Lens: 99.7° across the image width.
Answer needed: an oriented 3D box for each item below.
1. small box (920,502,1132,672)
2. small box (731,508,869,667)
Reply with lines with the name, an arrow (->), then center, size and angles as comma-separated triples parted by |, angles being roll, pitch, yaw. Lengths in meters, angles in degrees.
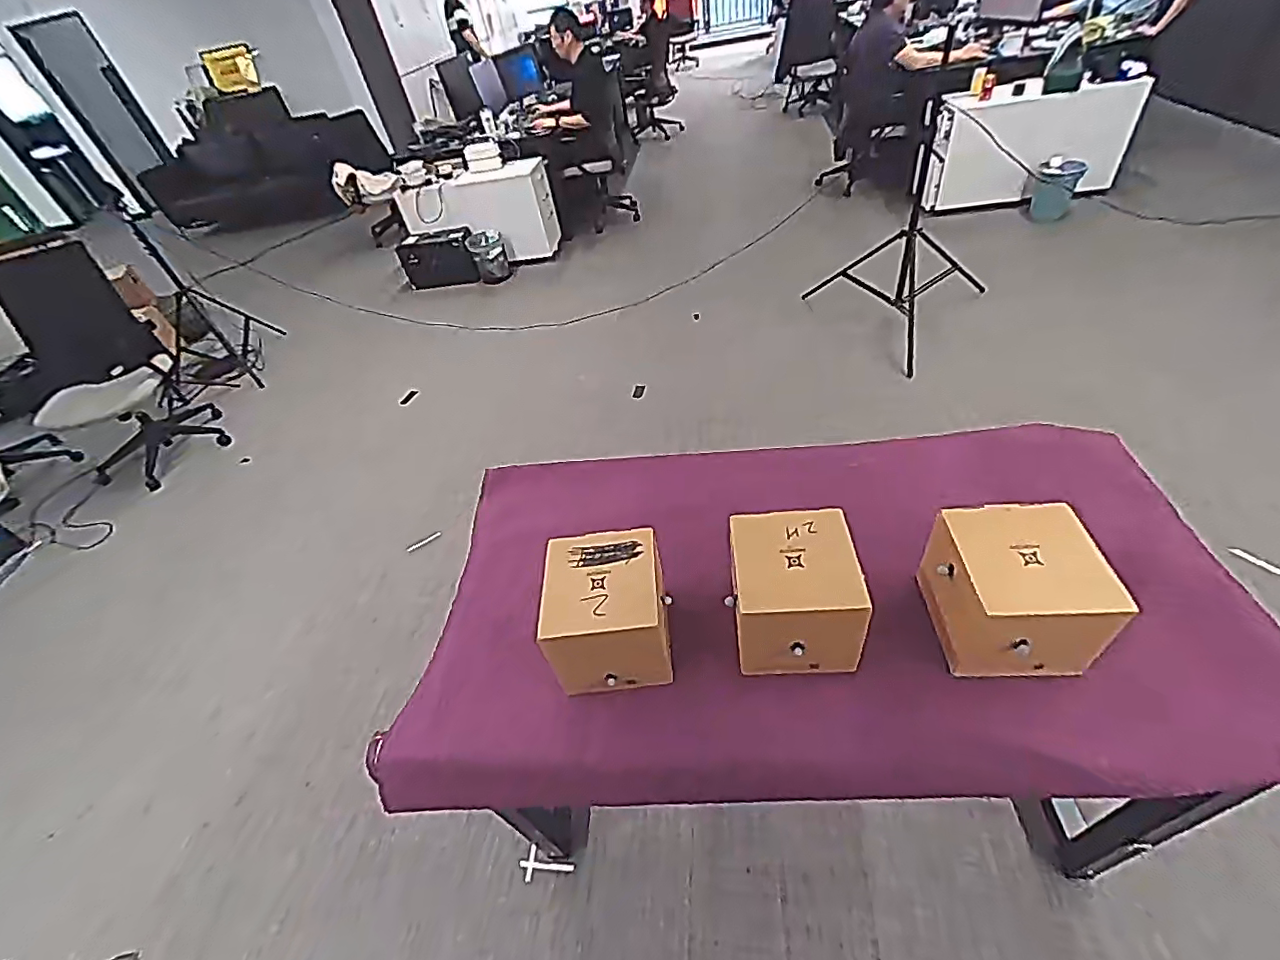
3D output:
small box -> 0.513, 0.154, 0.754 | 0.168, 0.176, 0.179 | -4, 44, 9
small box -> 0.226, 0.164, 0.805 | 0.168, 0.176, 0.179 | -4, 43, 7
